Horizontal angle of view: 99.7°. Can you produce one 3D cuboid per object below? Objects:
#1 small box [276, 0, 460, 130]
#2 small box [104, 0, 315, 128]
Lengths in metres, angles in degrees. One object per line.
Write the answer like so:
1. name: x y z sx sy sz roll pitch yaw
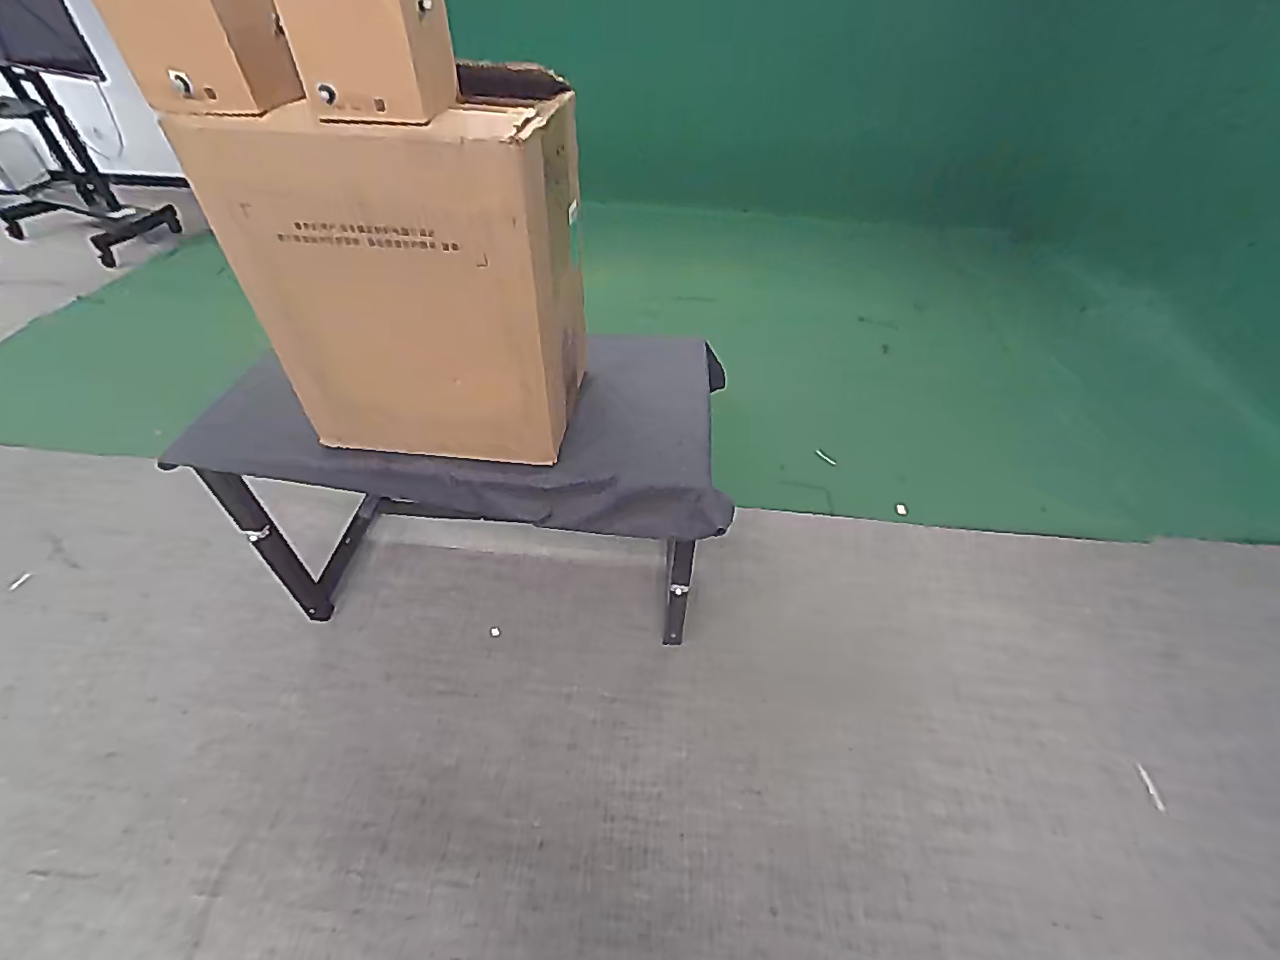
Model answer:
1. small box: -0.375 -0.621 0.780 0.168 0.176 0.179 3 44 1
2. small box: -0.621 -0.641 0.801 0.168 0.176 0.179 1 46 4
